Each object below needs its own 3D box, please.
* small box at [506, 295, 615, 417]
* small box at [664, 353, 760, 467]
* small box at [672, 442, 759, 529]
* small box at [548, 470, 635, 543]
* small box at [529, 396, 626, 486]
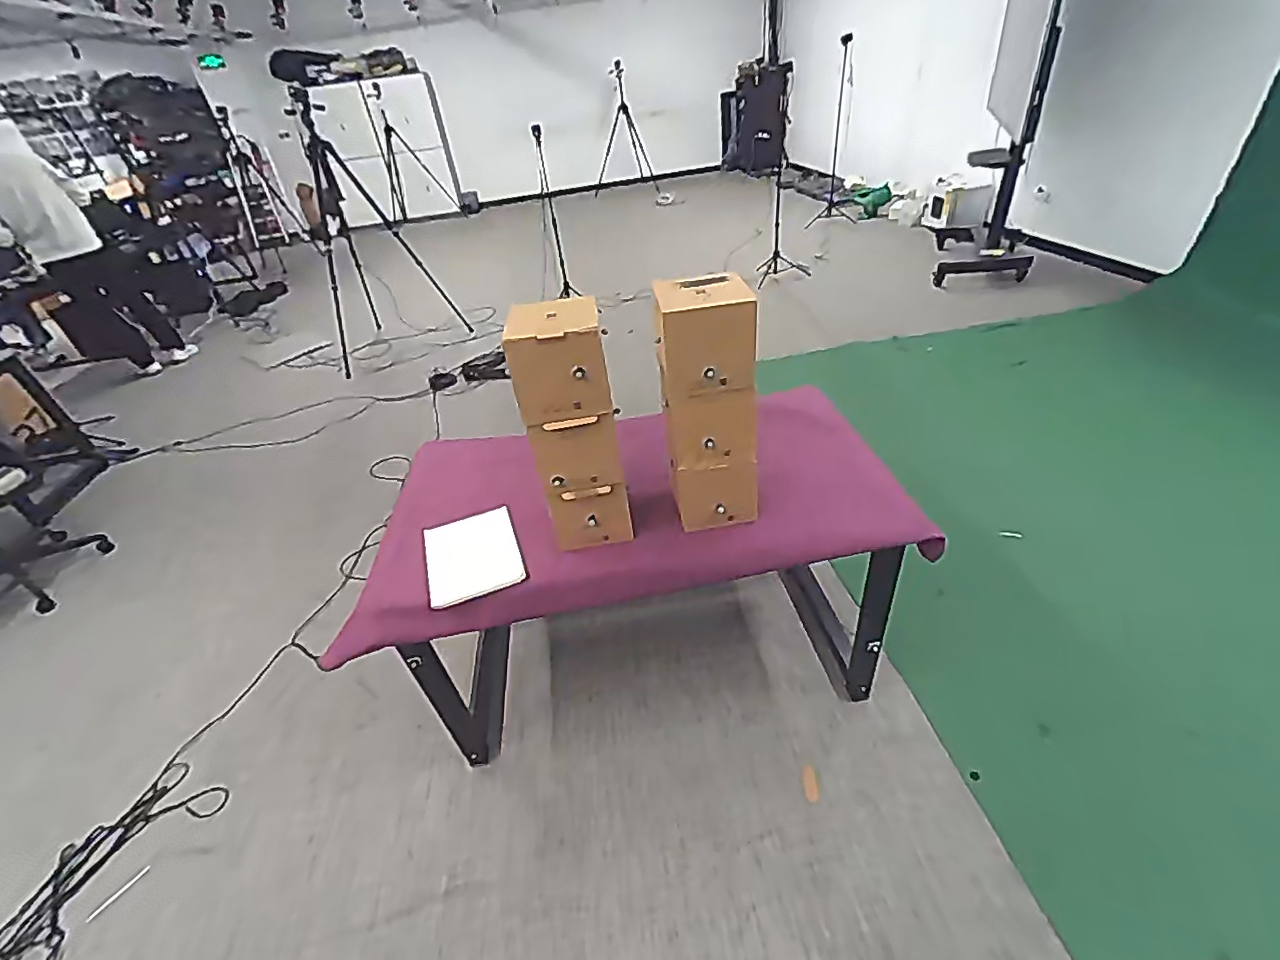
[{"bbox_3d":[-0.141,-0.227,1.015,0.168,0.176,0.179,-8,36,-1],"label":"small box"},{"bbox_3d":[0.145,-0.147,1.130,0.168,0.176,0.179,-8,36,-1],"label":"small box"},{"bbox_3d":[0.166,-0.013,1.221,0.168,0.176,0.179,-10,36,0],"label":"small box"},{"bbox_3d":[-0.107,0.027,1.220,0.168,0.176,0.179,-8,38,-1],"label":"small box"},{"bbox_3d":[-0.124,-0.100,1.116,0.168,0.176,0.179,-9,36,-1],"label":"small box"}]
